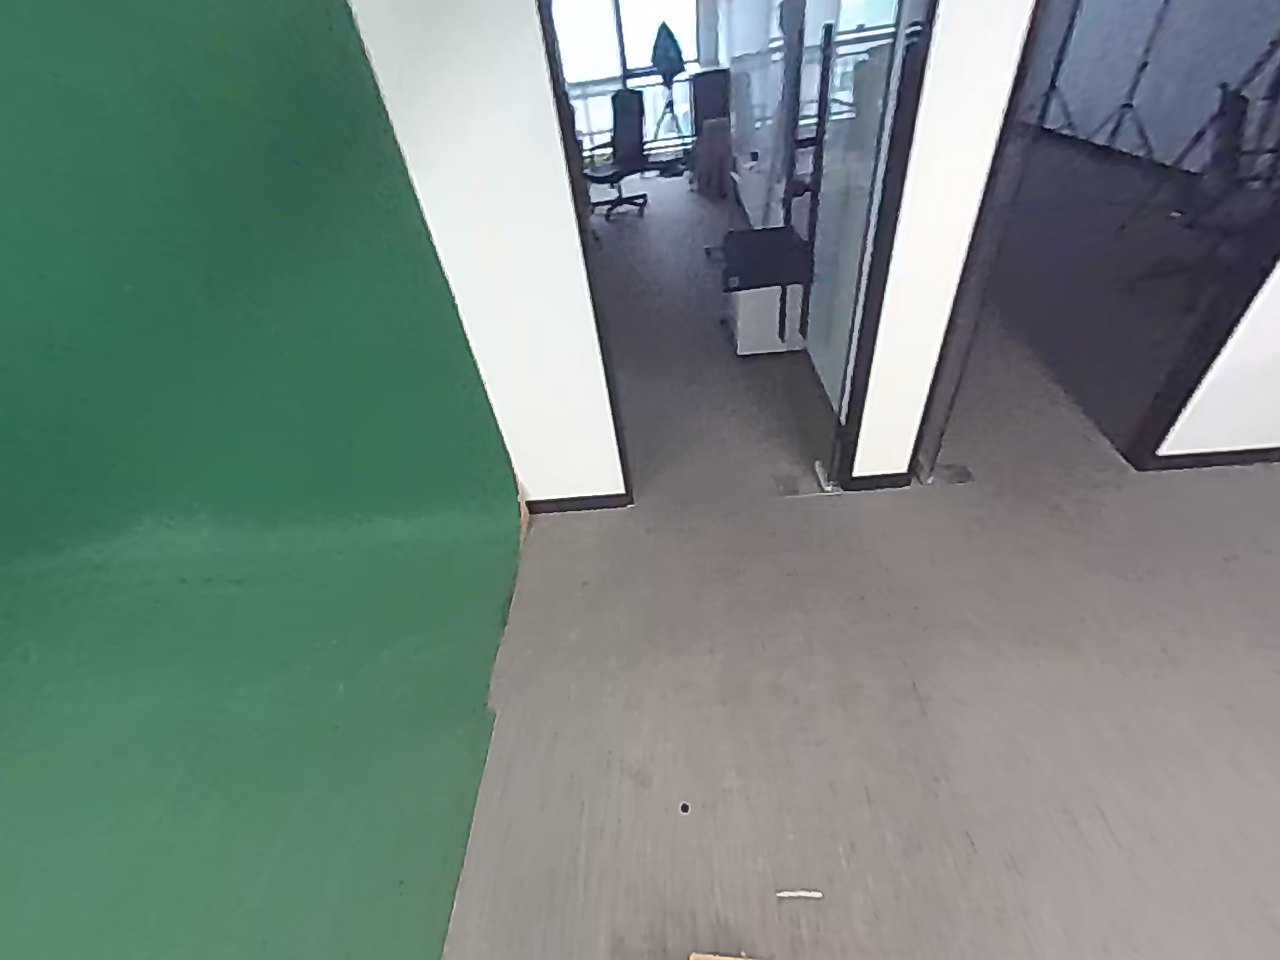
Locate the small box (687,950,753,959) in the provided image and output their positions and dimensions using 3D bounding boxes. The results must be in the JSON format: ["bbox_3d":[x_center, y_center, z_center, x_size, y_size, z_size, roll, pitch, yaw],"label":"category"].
[{"bbox_3d":[0.170,1.006,1.000,0.168,0.176,0.179,0,43,9],"label":"small box"}]
